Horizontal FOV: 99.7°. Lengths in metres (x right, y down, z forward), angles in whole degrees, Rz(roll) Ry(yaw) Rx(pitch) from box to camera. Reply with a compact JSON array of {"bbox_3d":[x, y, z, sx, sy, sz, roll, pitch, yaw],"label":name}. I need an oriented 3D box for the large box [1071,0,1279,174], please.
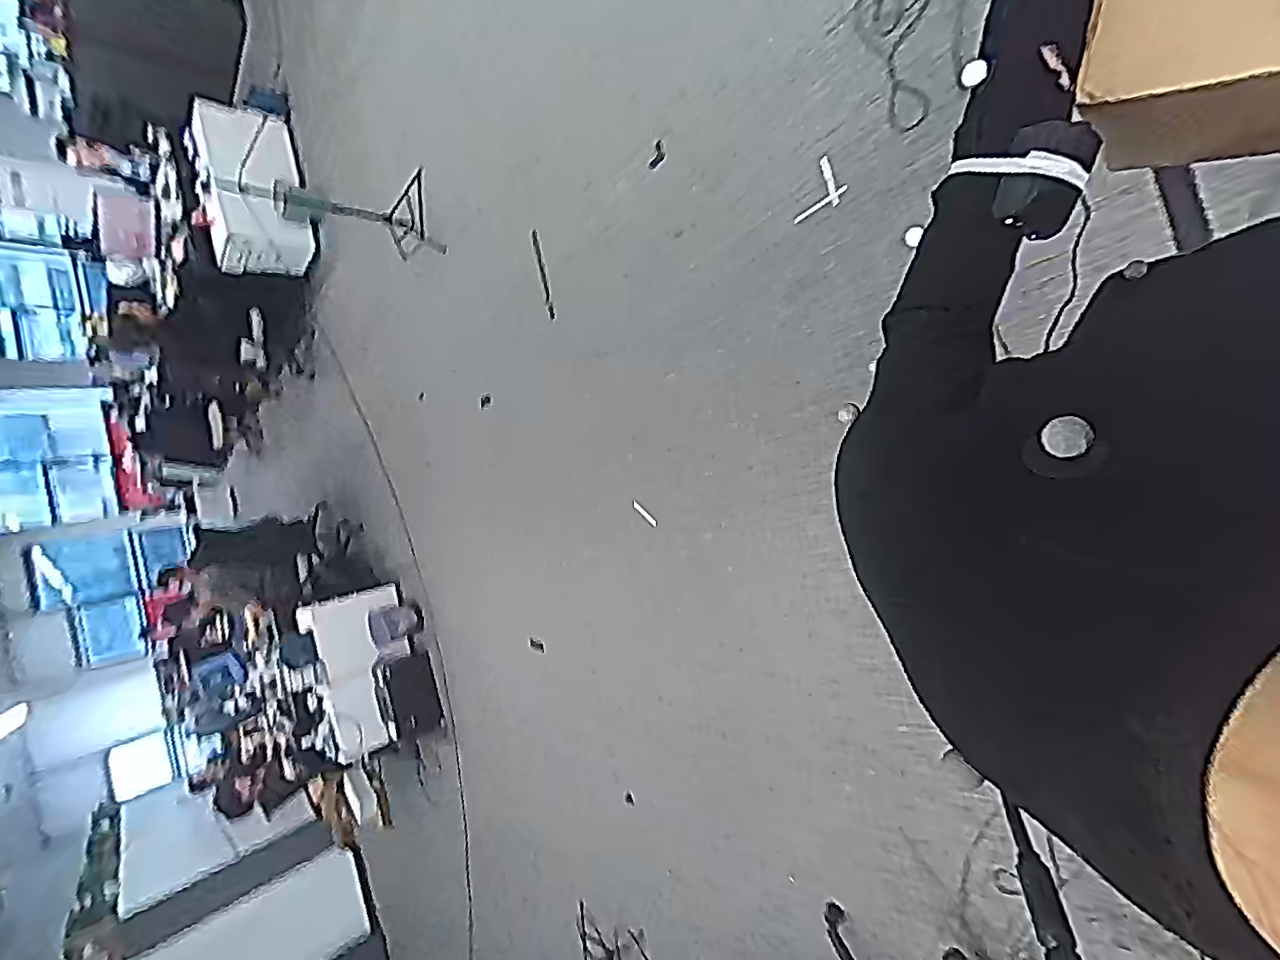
[{"bbox_3d":[0.553,-0.412,0.326,0.408,0.320,0.320,15,115,40],"label":"large box"}]
